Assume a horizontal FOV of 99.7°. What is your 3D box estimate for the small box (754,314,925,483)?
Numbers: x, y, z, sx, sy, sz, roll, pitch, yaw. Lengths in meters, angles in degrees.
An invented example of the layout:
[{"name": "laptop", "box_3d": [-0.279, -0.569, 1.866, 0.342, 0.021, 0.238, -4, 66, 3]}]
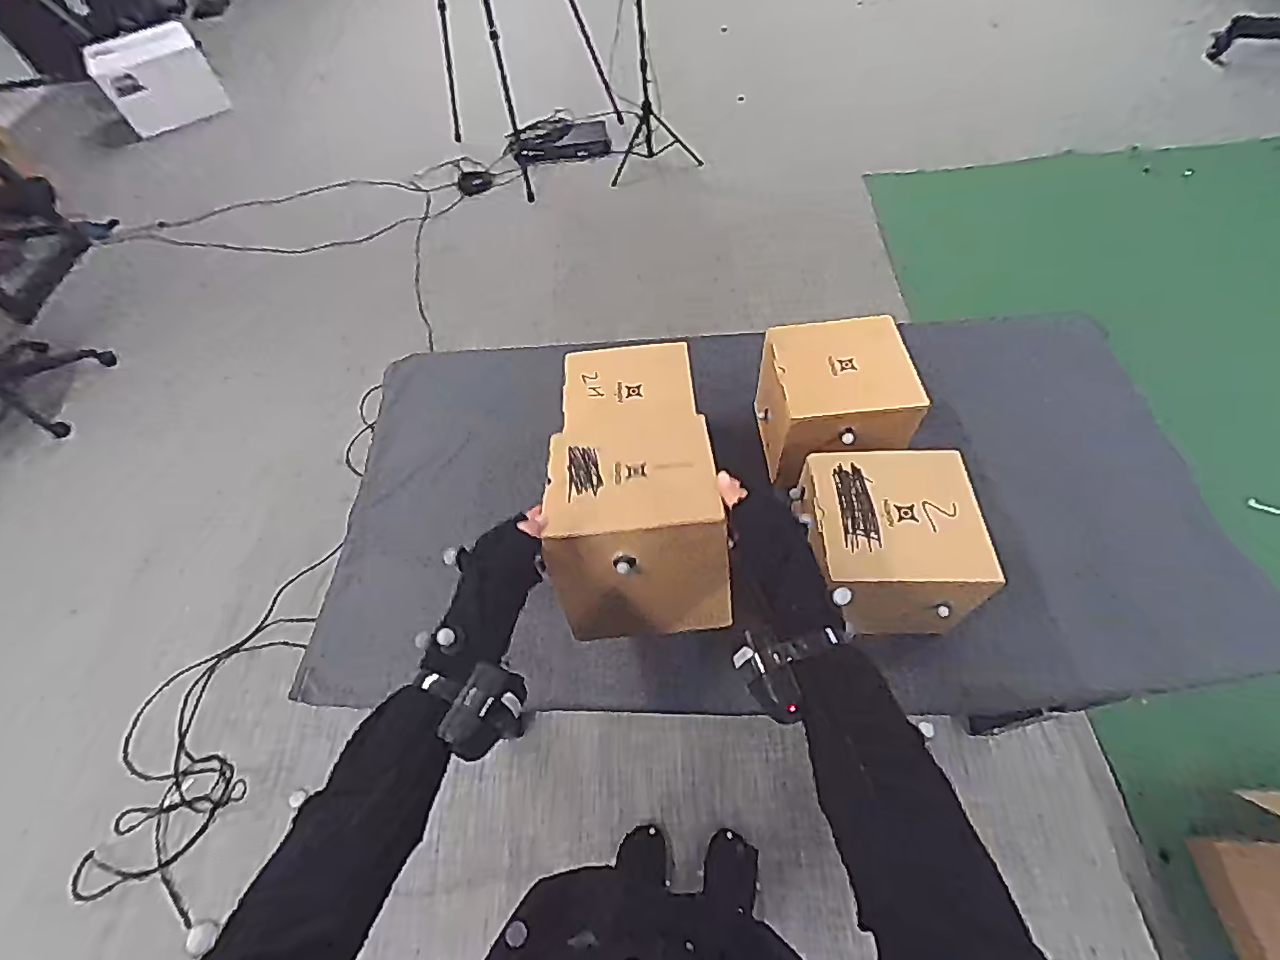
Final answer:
[{"name": "small box", "box_3d": [0.270, -0.110, 0.779, 0.179, 0.176, 0.168, -6, 58, 3]}]
